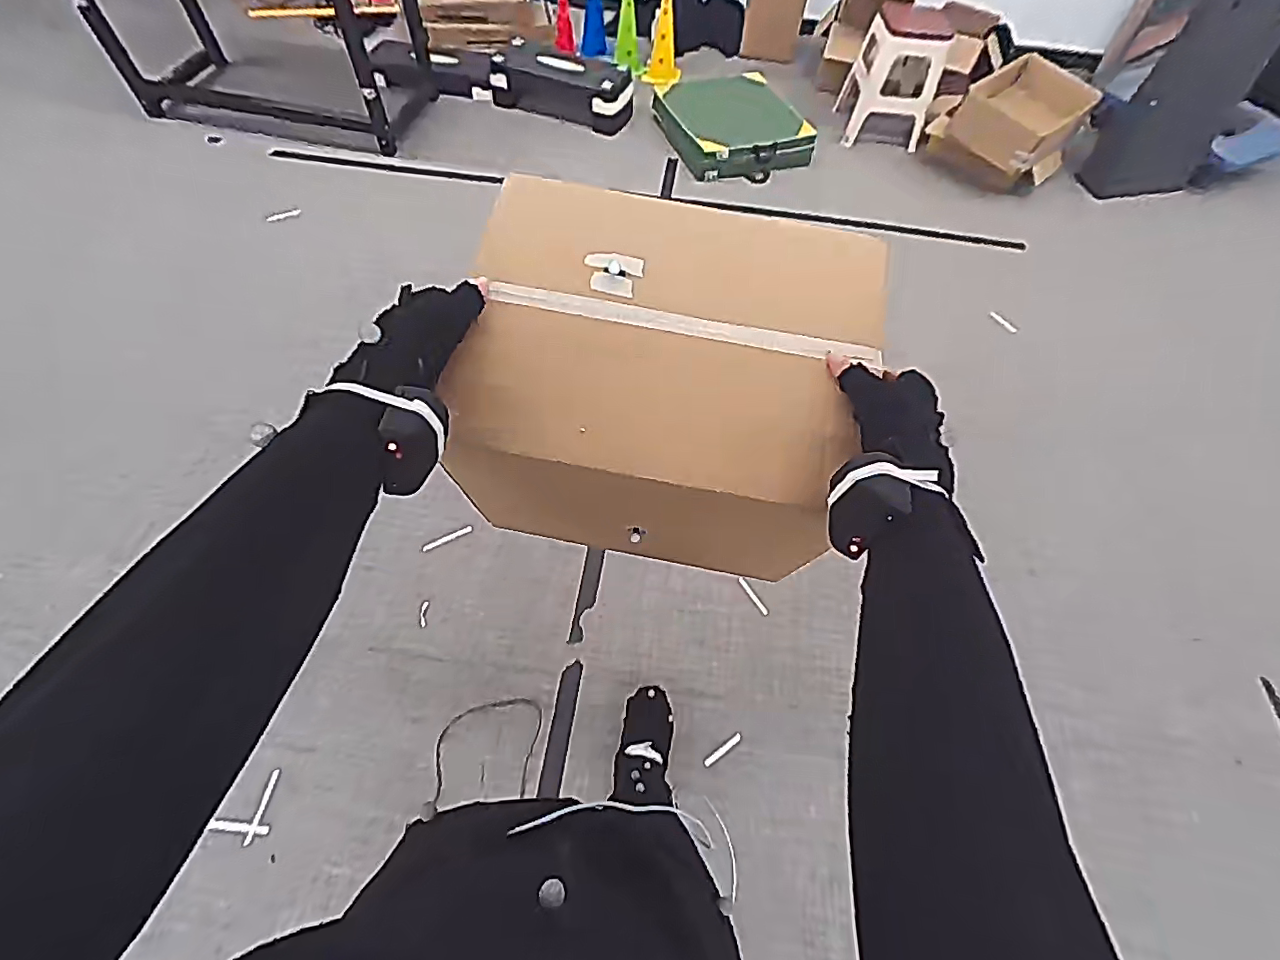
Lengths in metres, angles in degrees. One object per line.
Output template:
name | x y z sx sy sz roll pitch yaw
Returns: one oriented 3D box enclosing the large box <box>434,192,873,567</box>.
large box | 0.029 -0.094 0.676 0.408 0.320 0.320 10 69 2
